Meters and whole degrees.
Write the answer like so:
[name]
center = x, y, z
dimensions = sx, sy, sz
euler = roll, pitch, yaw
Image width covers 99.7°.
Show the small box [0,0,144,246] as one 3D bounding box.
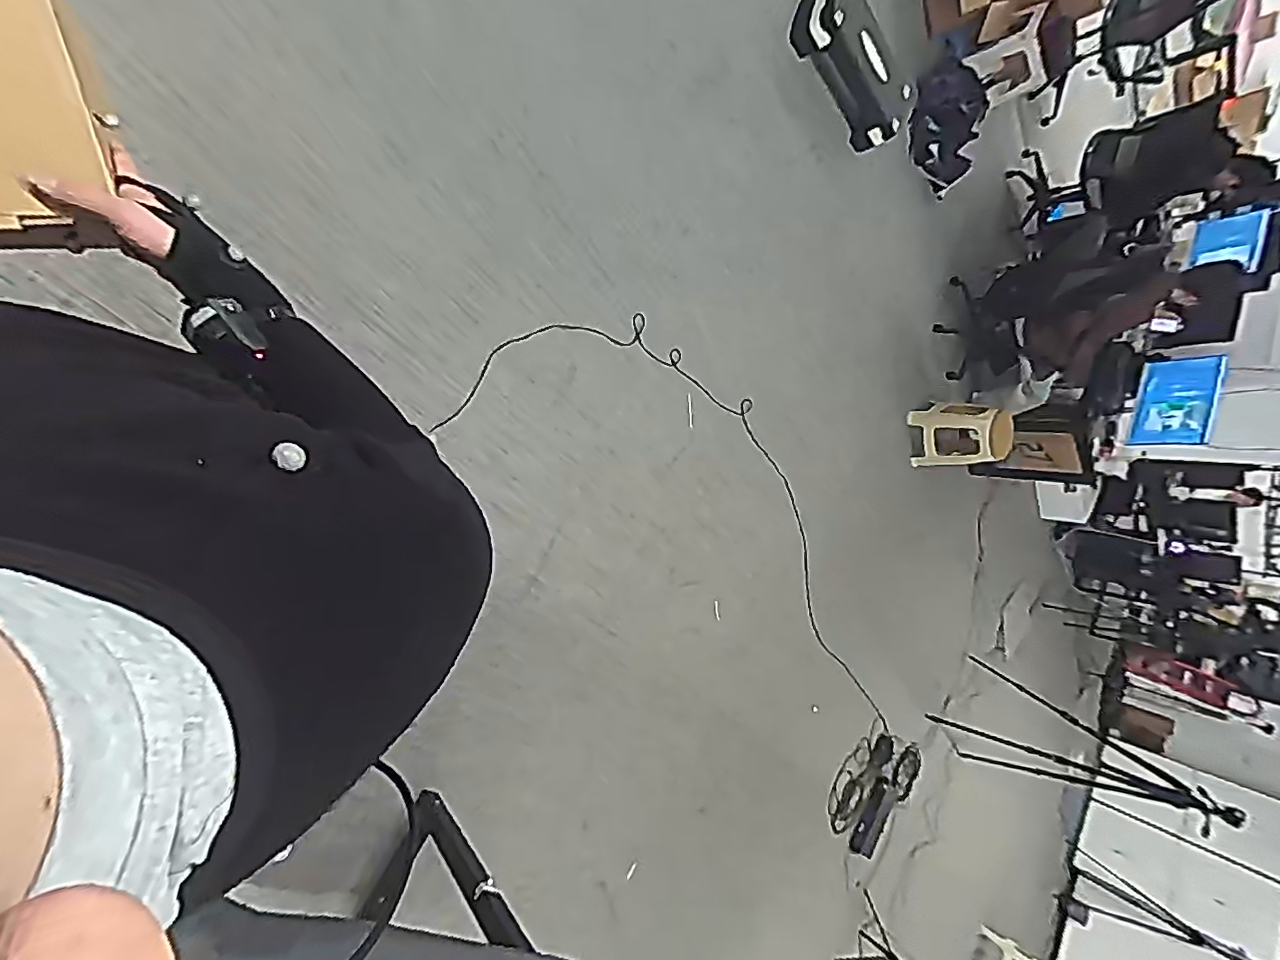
[small box]
center = -0.544, -0.292, 0.439
dimensions = 0.168, 0.176, 0.179
euler = -17, 110, -33
